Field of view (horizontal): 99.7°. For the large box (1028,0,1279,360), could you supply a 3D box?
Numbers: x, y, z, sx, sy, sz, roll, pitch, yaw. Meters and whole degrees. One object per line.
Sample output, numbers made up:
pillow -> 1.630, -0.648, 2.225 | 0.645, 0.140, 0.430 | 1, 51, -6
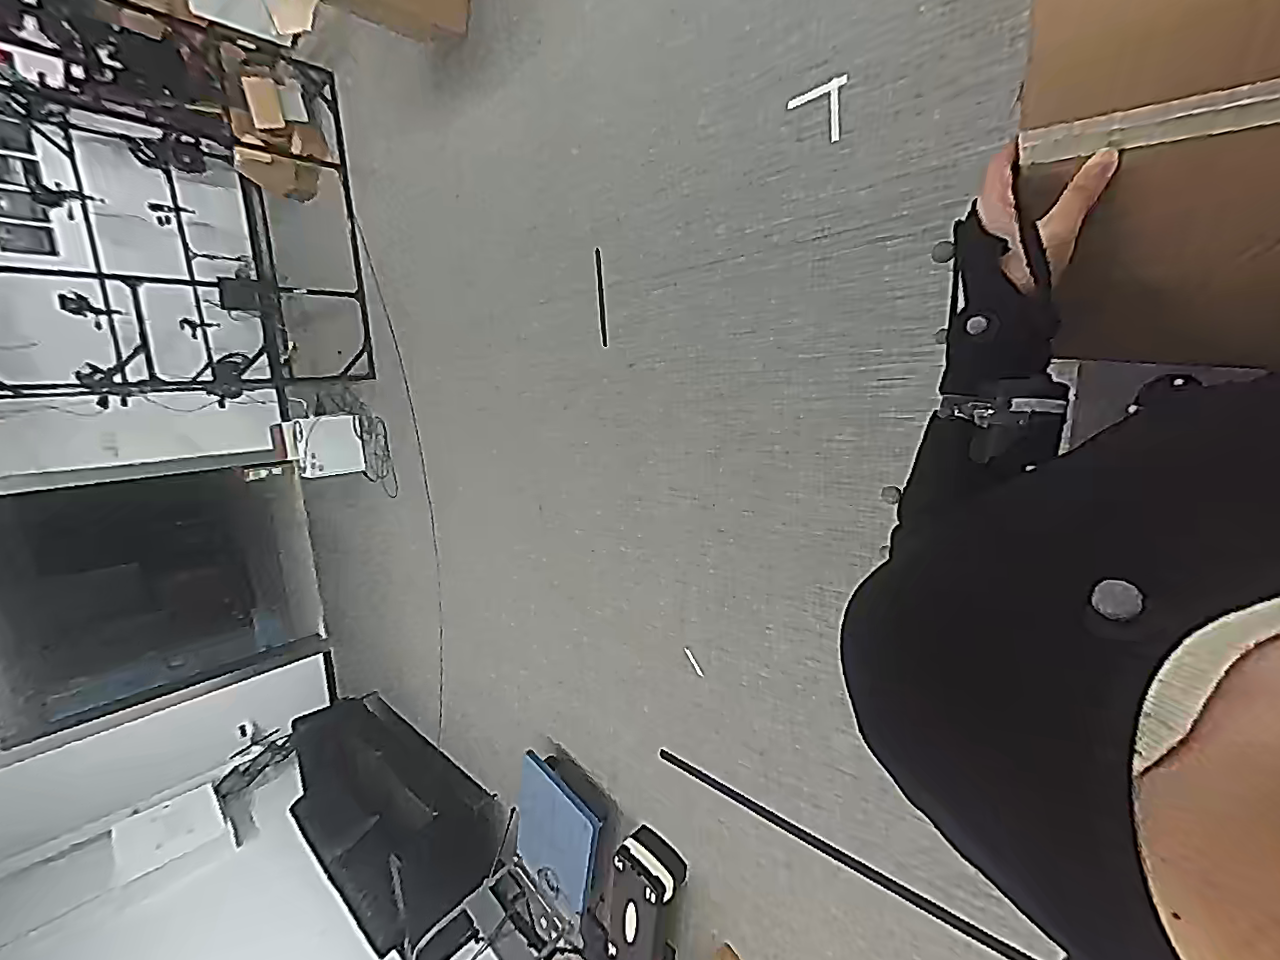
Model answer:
large box -> 0.503, -0.272, 0.301 | 0.408, 0.320, 0.320 | 17, 138, 46
